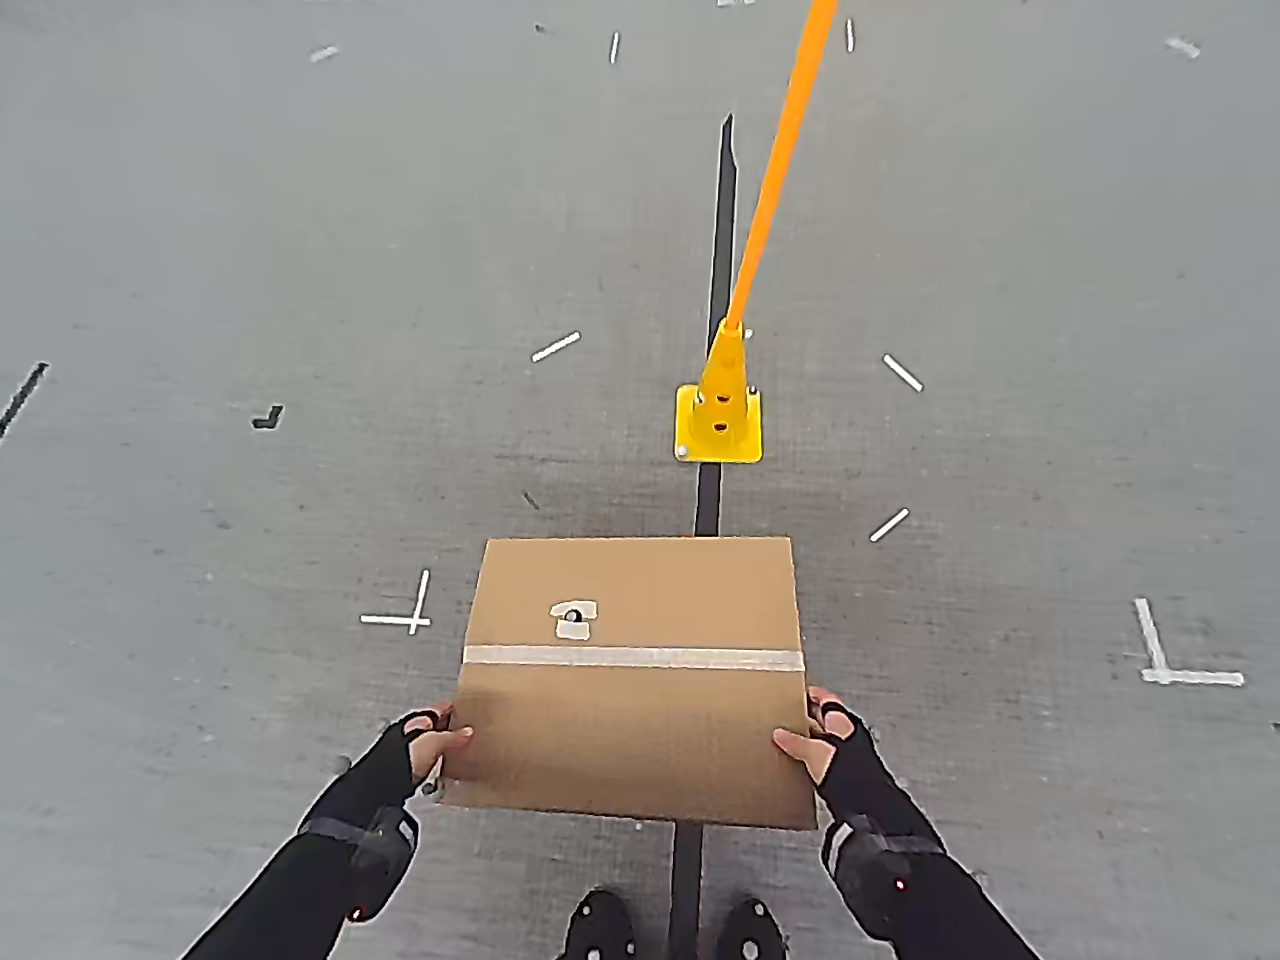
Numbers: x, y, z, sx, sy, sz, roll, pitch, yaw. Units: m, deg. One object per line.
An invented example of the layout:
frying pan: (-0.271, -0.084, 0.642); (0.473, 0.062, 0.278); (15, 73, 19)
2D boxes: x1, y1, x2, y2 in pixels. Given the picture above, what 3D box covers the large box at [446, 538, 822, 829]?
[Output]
large box: (0.014, 0.292, 0.756); (0.408, 0.320, 0.320); (-3, 57, 10)
